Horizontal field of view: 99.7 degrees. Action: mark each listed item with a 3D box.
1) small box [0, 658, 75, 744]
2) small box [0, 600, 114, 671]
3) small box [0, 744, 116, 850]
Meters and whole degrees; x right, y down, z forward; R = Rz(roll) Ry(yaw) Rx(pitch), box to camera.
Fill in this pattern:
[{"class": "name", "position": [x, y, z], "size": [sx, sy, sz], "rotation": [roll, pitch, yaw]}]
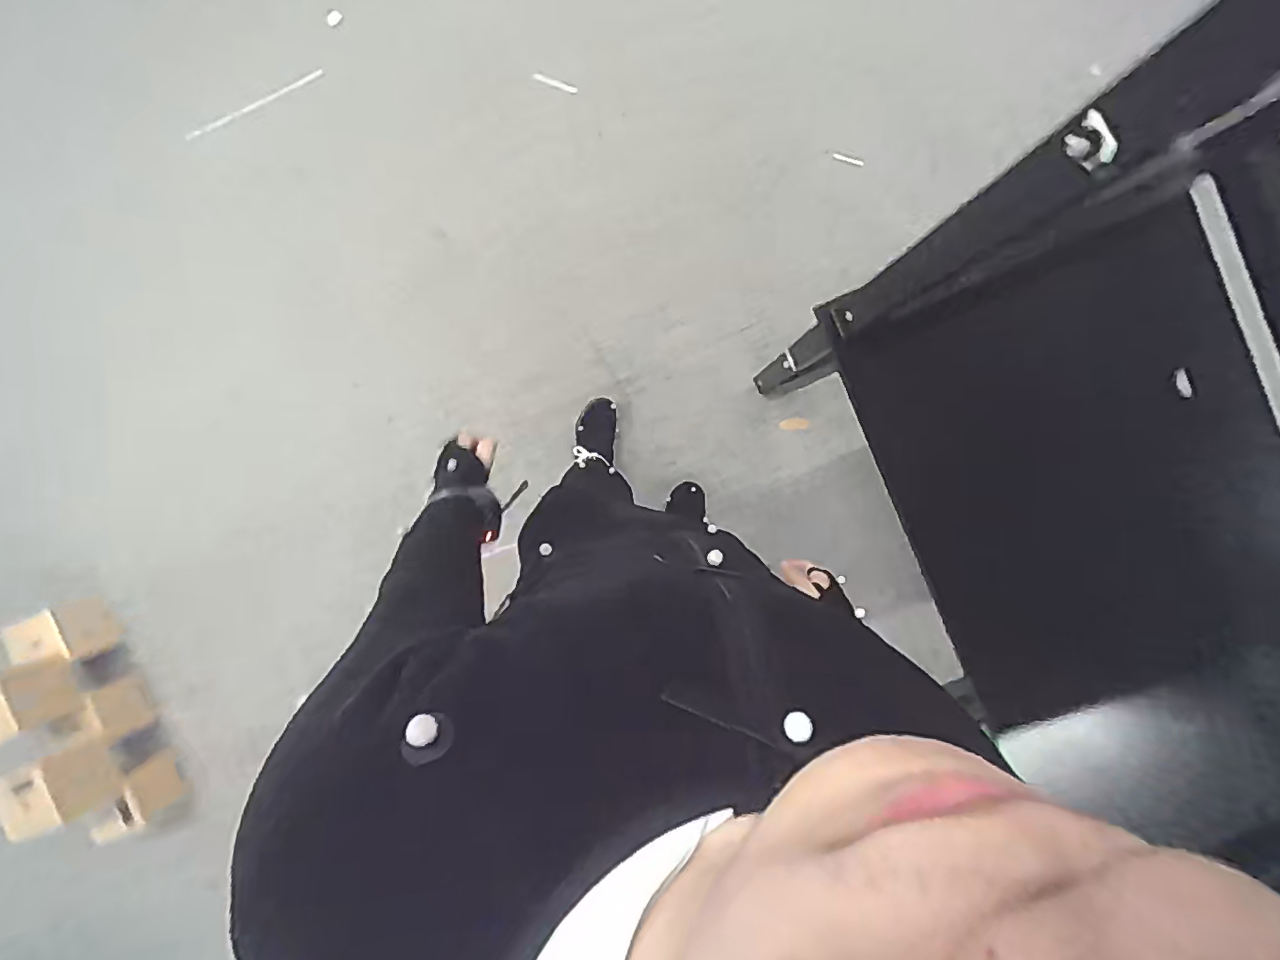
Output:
[{"class": "small box", "position": [-1.719, 0.616, 1.474], "size": [0.168, 0.176, 0.179], "rotation": [-24, 89, 2]}, {"class": "small box", "position": [-1.757, 0.482, 1.634], "size": [0.179, 0.176, 0.168], "rotation": [-22, 91, 3]}, {"class": "small box", "position": [-1.611, 0.852, 1.477], "size": [0.168, 0.176, 0.179], "rotation": [-20, 92, 3]}]
